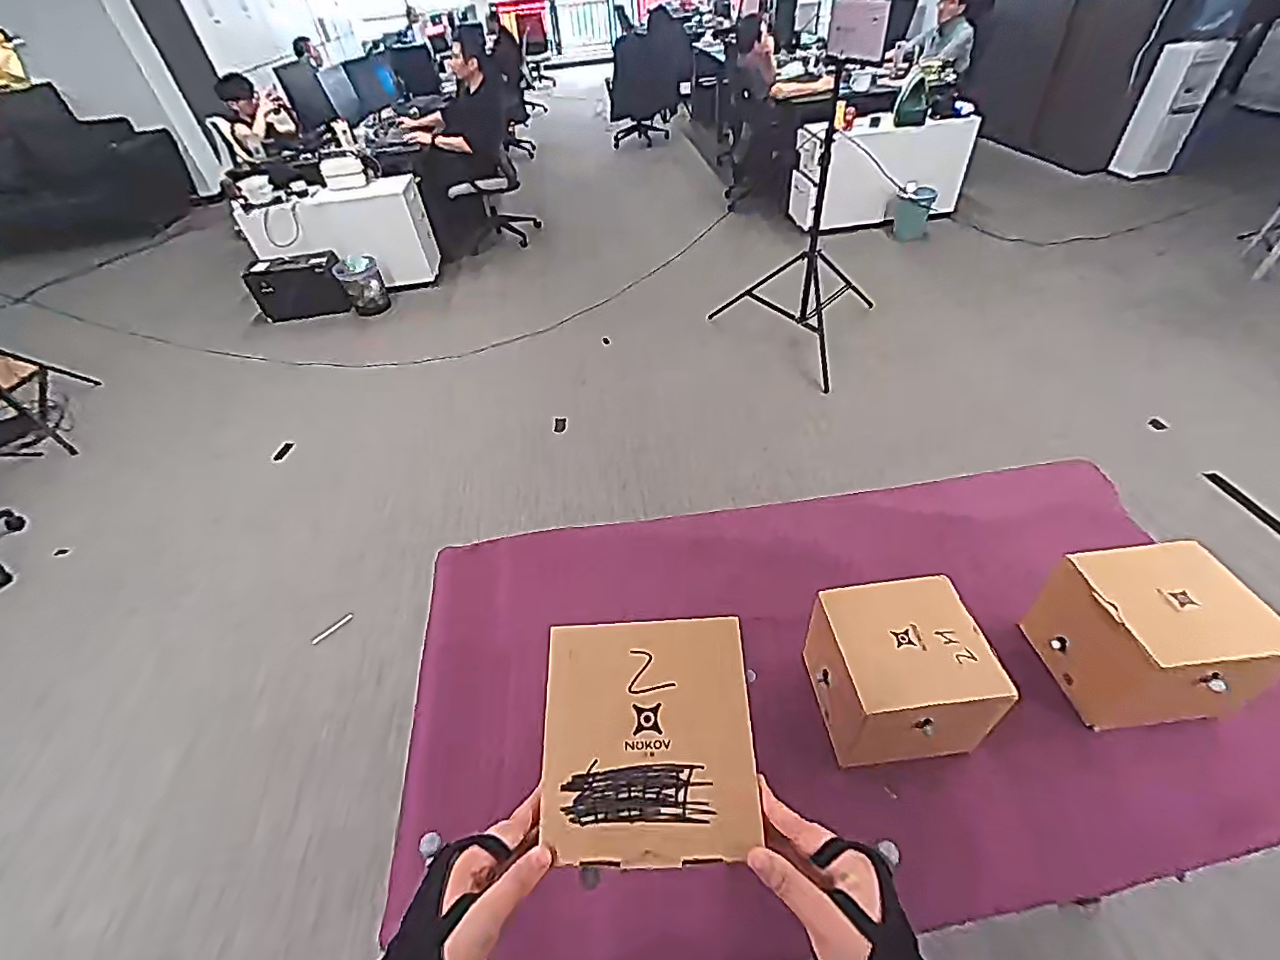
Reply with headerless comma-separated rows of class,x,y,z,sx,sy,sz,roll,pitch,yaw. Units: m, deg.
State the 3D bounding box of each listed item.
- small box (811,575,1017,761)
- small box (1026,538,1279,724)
small box,0.333,0.248,0.706,0.179,0.176,0.168,-7,44,0
small box,0.666,0.201,0.713,0.179,0.176,0.168,-8,43,1
